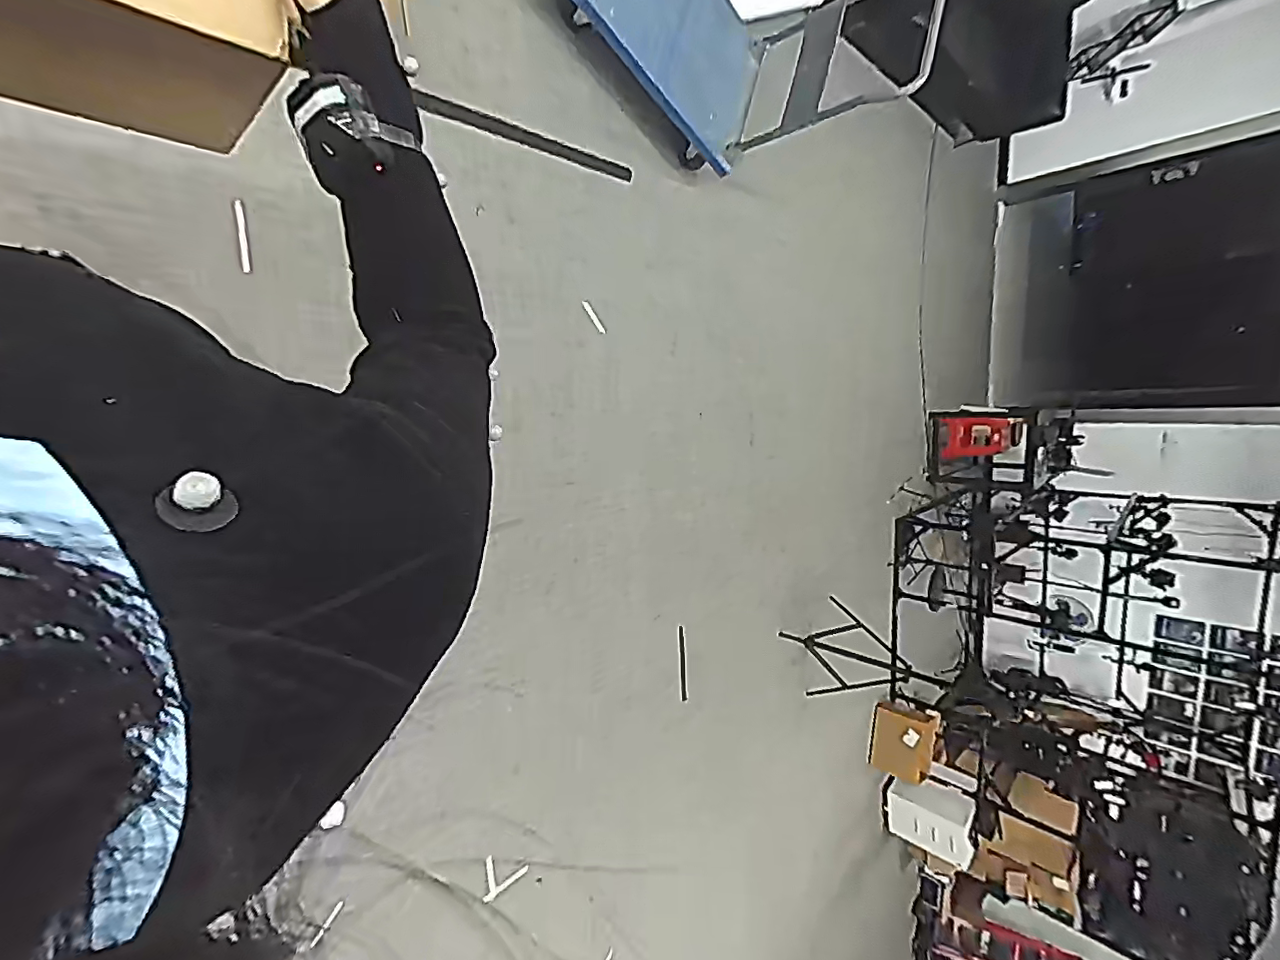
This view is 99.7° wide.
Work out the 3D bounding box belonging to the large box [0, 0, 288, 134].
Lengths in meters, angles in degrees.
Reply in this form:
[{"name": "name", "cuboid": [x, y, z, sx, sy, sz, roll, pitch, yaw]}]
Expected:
[{"name": "large box", "cuboid": [-0.502, -0.480, 0.345, 0.408, 0.320, 0.320, -8, 107, -43]}]
